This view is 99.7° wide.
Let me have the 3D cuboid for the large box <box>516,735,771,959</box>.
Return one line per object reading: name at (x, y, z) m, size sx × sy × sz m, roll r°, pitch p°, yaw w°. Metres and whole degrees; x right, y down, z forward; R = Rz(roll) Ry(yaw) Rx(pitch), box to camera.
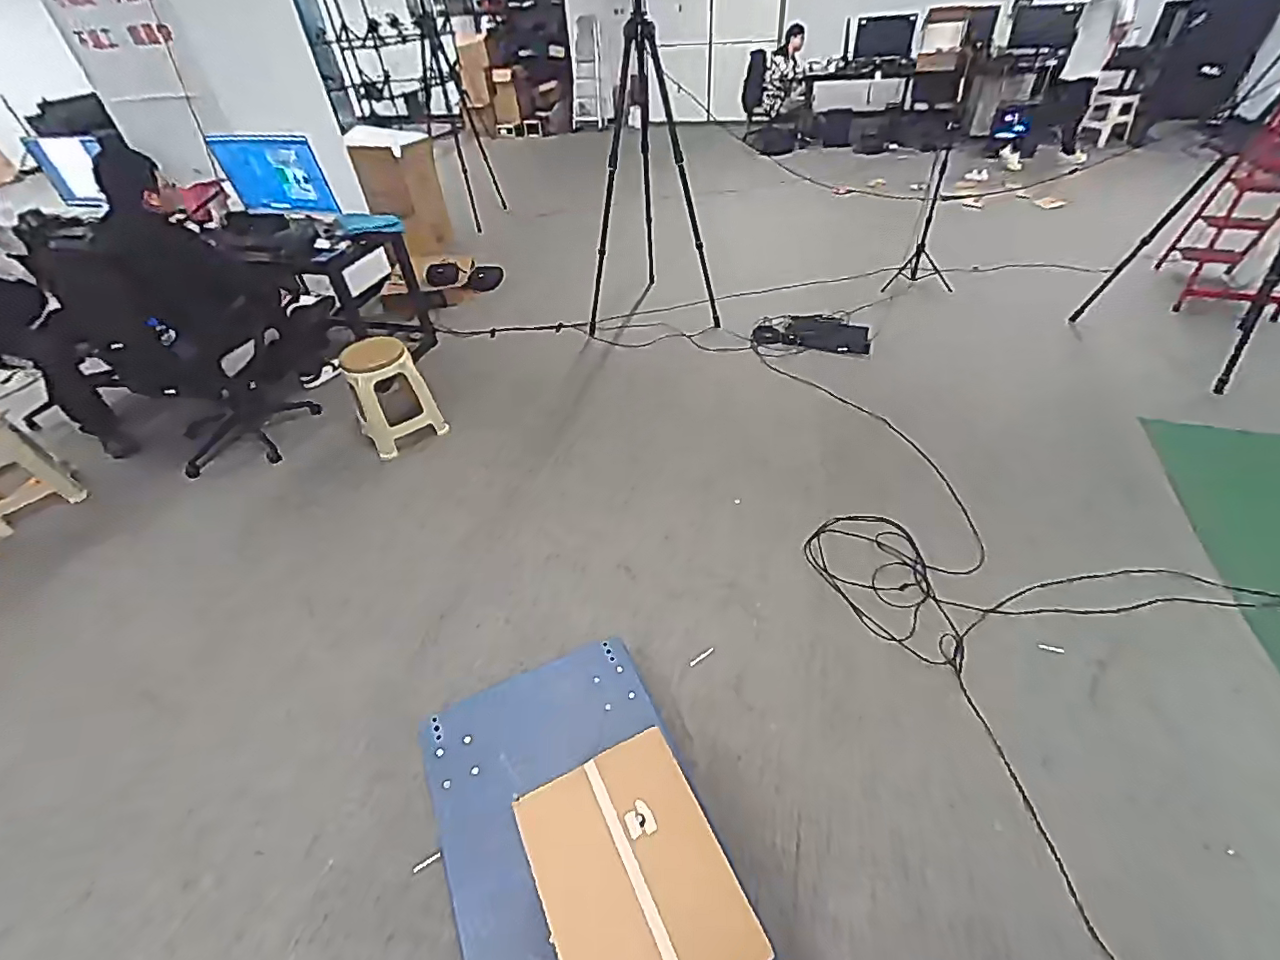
large box at (-0.008, 0.804, 1.055) m, size 0.320 × 0.320 × 0.408 m, roll -20°, pitch 49°, yaw -19°
